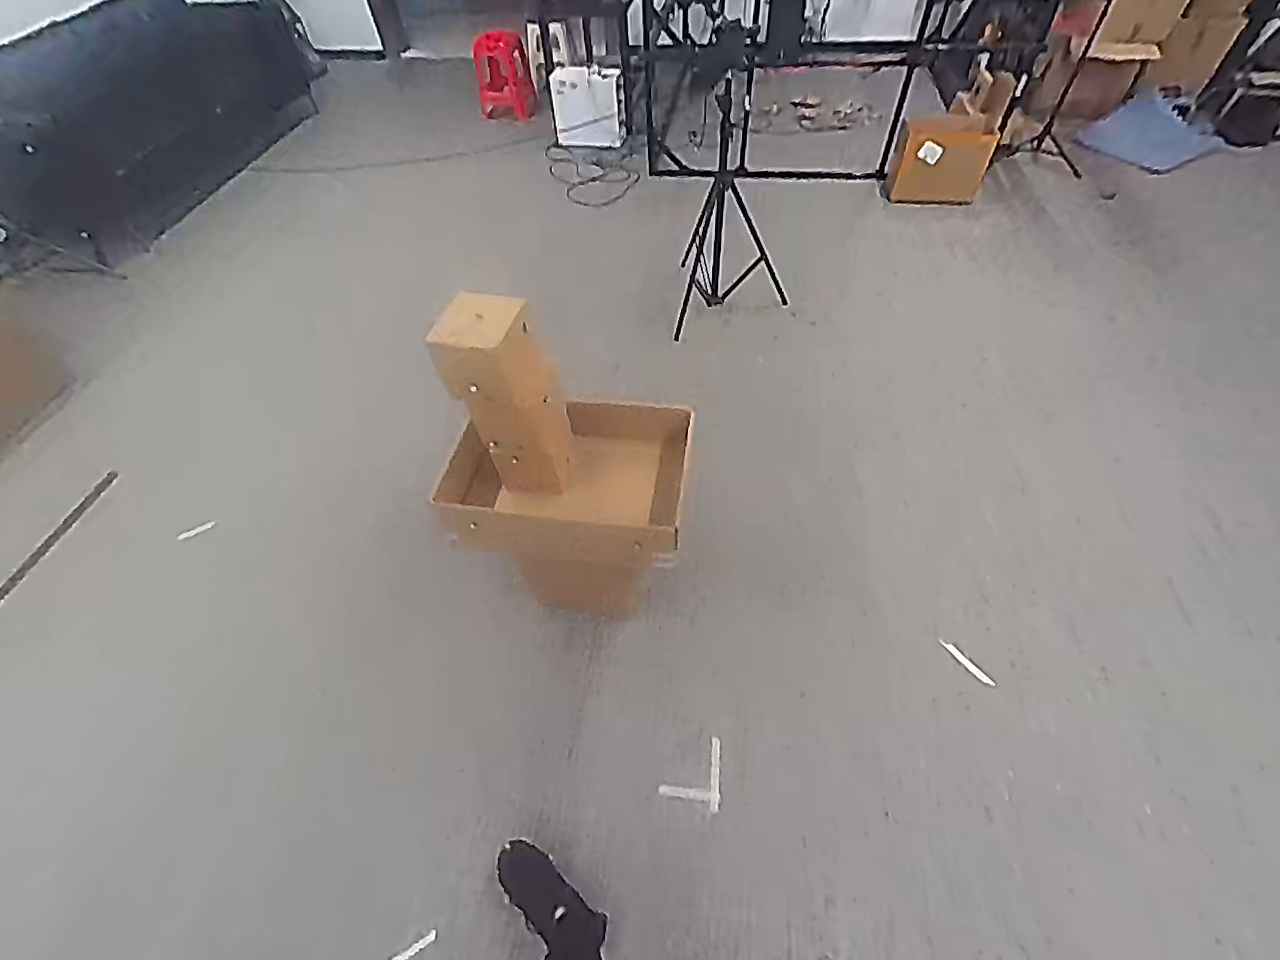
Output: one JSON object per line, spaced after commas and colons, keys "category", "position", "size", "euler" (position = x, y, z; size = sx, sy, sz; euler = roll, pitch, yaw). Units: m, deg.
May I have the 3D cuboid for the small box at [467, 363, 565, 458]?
{"category": "small box", "position": [-0.294, -0.174, 1.334], "size": [0.168, 0.176, 0.179], "euler": [9, 53, 10]}

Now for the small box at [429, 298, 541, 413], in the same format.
{"category": "small box", "position": [-0.333, -0.277, 1.208], "size": [0.168, 0.176, 0.179], "euler": [9, 54, 11]}

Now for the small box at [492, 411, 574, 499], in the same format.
{"category": "small box", "position": [-0.280, -0.072, 1.462], "size": [0.168, 0.176, 0.179], "euler": [3, 52, 7]}
